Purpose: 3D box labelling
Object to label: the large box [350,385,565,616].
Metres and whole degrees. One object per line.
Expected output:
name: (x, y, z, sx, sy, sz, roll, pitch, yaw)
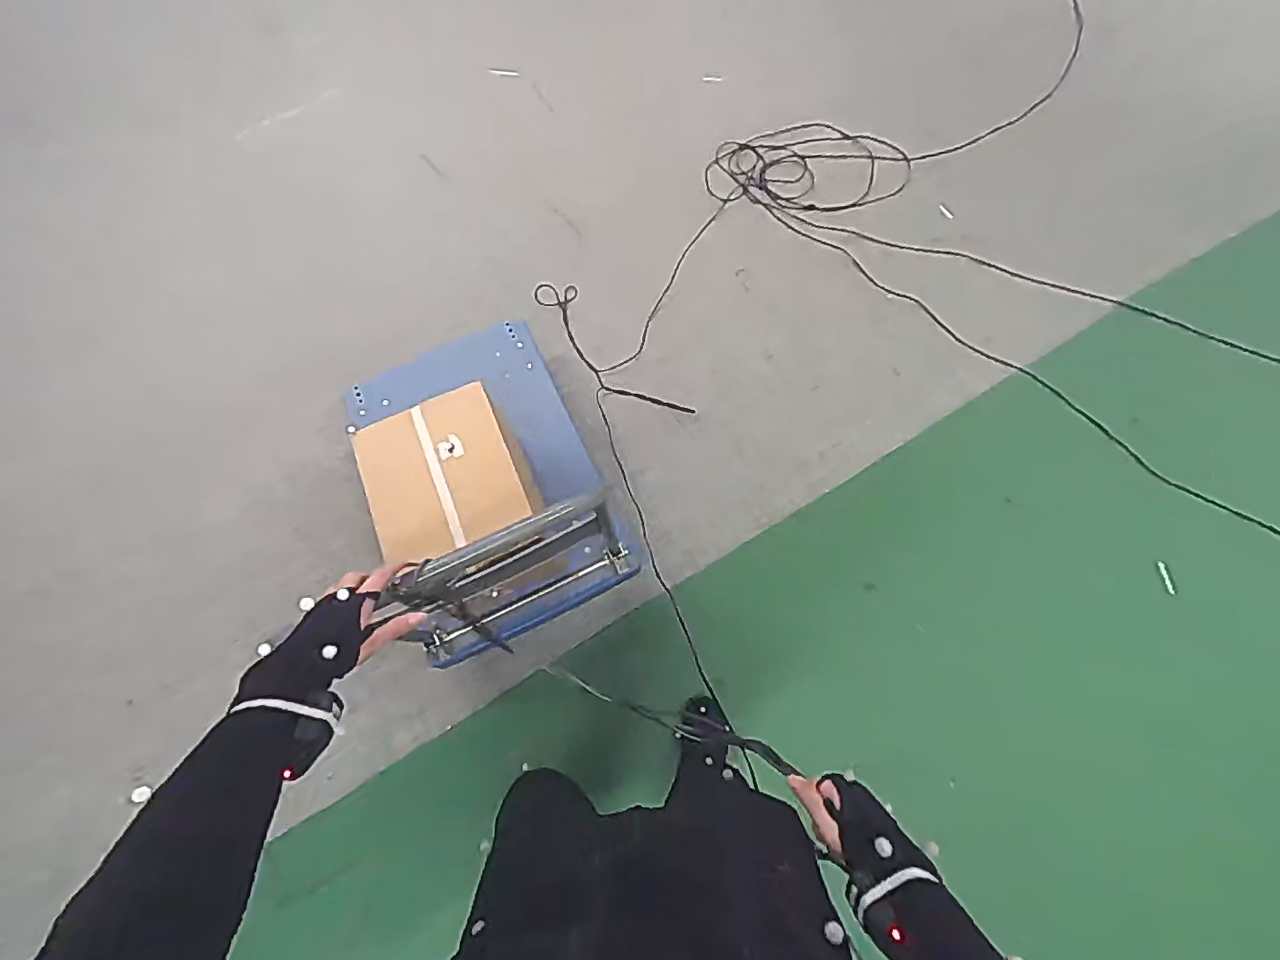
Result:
large box: (-0.414, 0.062, 1.285, 0.320, 0.320, 0.408, -23, 70, -6)
